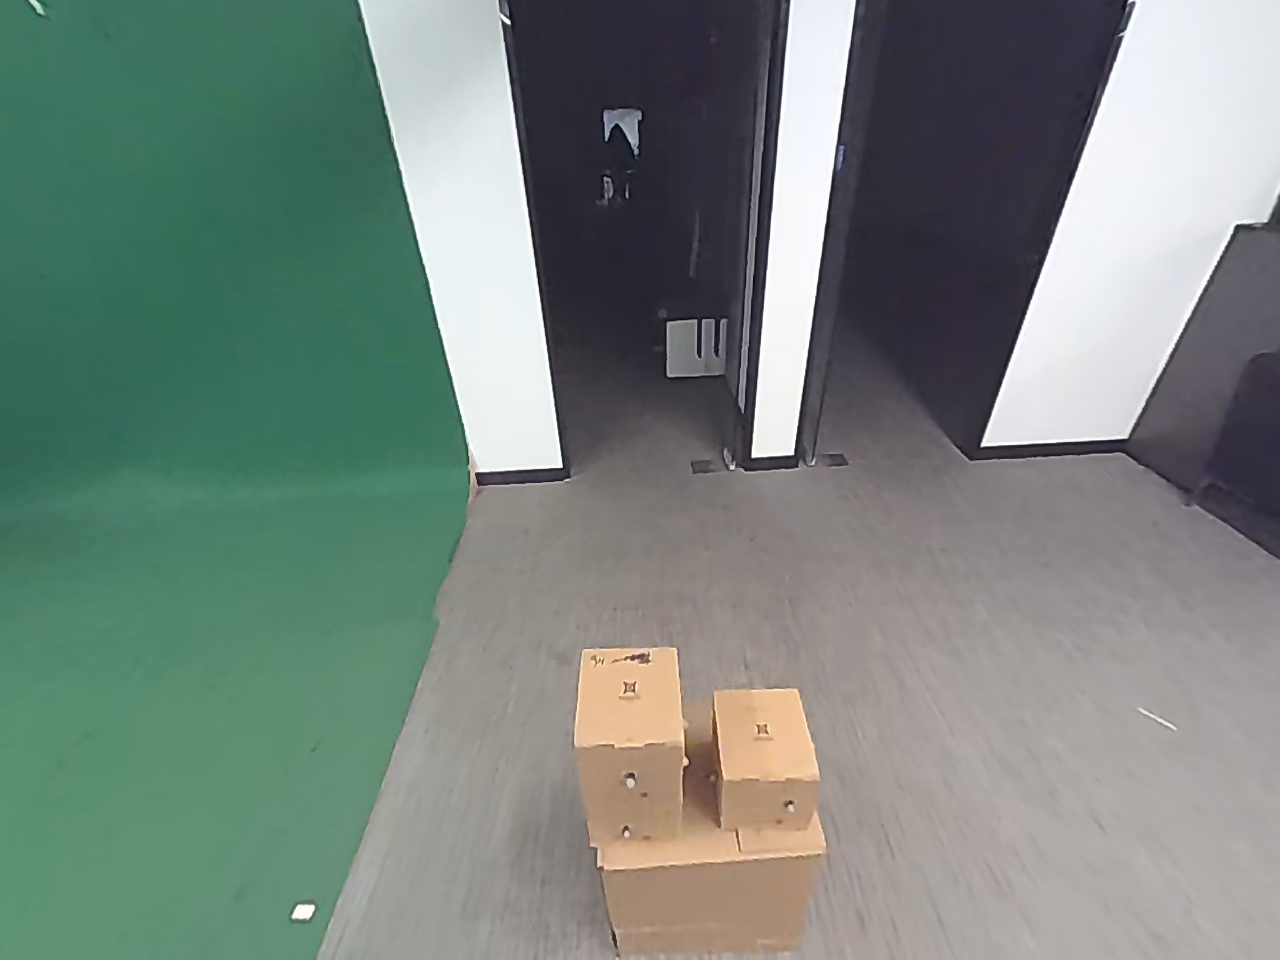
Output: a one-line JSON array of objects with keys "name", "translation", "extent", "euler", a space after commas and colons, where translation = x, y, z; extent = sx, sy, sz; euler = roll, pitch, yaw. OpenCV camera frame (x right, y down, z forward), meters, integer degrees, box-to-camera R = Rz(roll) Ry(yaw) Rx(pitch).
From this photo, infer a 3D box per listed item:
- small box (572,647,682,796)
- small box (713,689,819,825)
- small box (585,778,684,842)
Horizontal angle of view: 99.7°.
[{"name": "small box", "translation": [-0.015, 0.404, 0.903], "extent": [0.168, 0.176, 0.179], "euler": [-1, 35, 0]}, {"name": "small box", "translation": [0.226, 0.516, 1.009], "extent": [0.168, 0.176, 0.179], "euler": [-2, 33, 3]}, {"name": "small box", "translation": [-0.010, 0.537, 0.999], "extent": [0.168, 0.176, 0.179], "euler": [-2, 35, 0]}]
